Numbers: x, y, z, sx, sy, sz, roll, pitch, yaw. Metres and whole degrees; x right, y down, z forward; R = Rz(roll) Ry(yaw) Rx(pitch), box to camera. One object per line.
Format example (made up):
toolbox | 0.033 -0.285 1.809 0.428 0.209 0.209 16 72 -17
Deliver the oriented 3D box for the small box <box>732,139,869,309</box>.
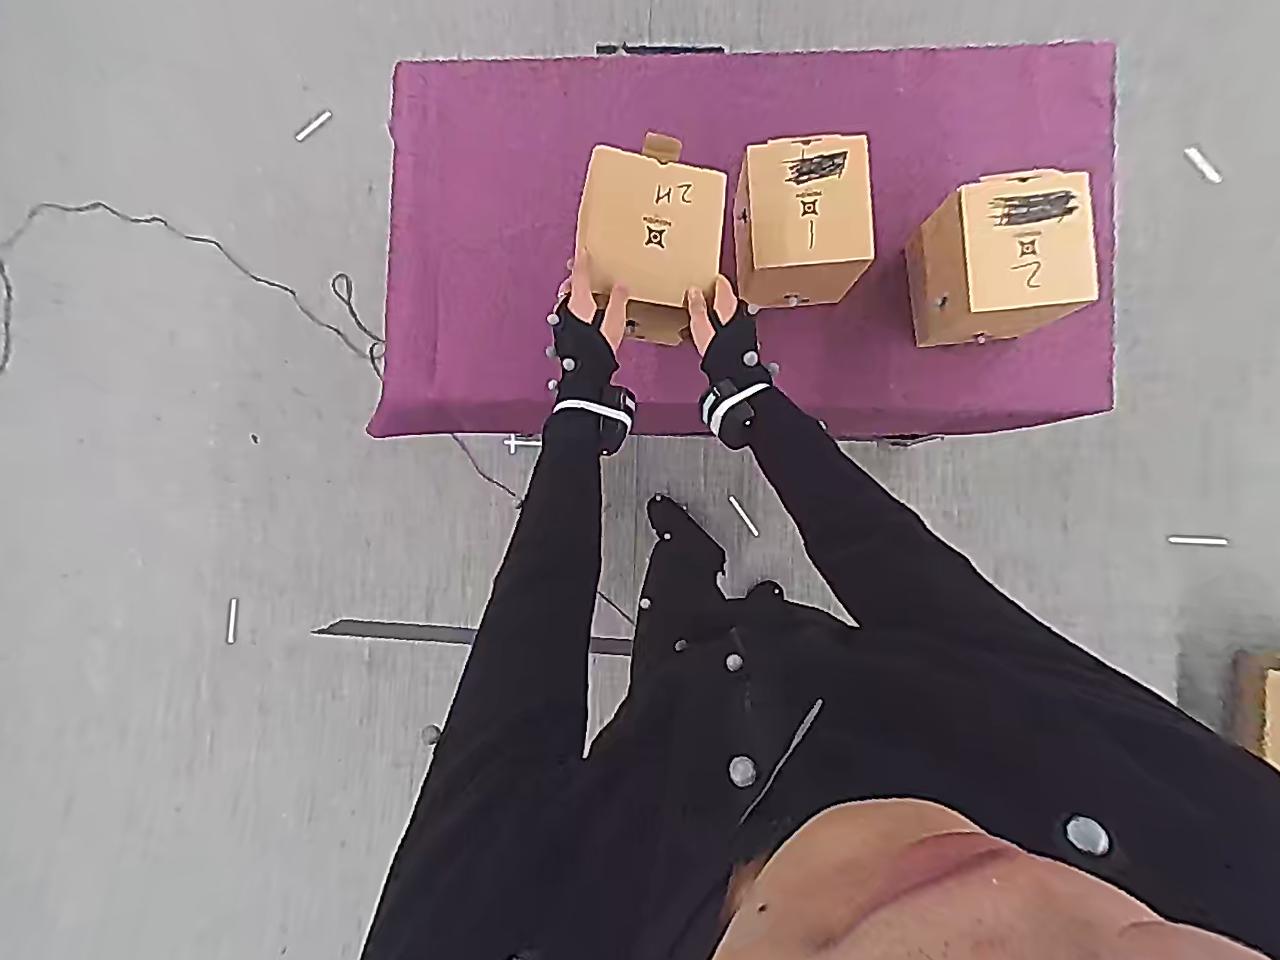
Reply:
small box | 0.235 -0.382 0.831 0.168 0.176 0.179 -4 88 4

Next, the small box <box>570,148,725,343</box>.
small box | 0.000 -0.295 0.725 0.168 0.176 0.179 5 88 -13
